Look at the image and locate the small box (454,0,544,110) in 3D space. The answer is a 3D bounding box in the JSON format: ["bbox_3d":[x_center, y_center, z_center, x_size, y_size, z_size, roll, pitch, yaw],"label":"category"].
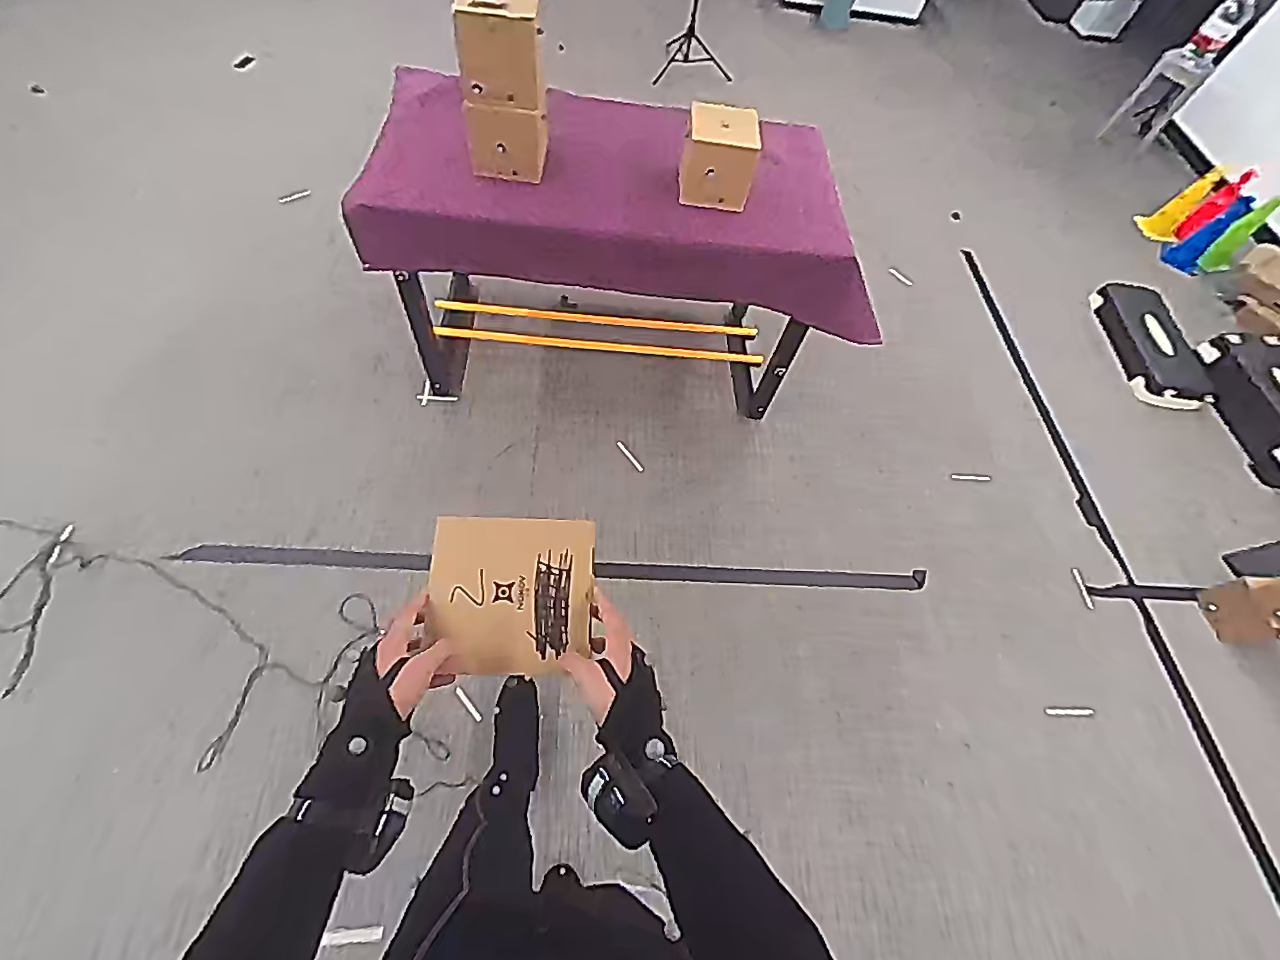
[{"bbox_3d":[-0.302,-0.951,1.190,0.168,0.176,0.179,2,60,-8],"label":"small box"}]

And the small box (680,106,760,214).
[{"bbox_3d":[0.197,-0.808,1.374,0.168,0.176,0.179,5,59,-5],"label":"small box"}]

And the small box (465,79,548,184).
[{"bbox_3d":[-0.318,-0.860,1.327,0.168,0.176,0.179,6,60,-6],"label":"small box"}]
